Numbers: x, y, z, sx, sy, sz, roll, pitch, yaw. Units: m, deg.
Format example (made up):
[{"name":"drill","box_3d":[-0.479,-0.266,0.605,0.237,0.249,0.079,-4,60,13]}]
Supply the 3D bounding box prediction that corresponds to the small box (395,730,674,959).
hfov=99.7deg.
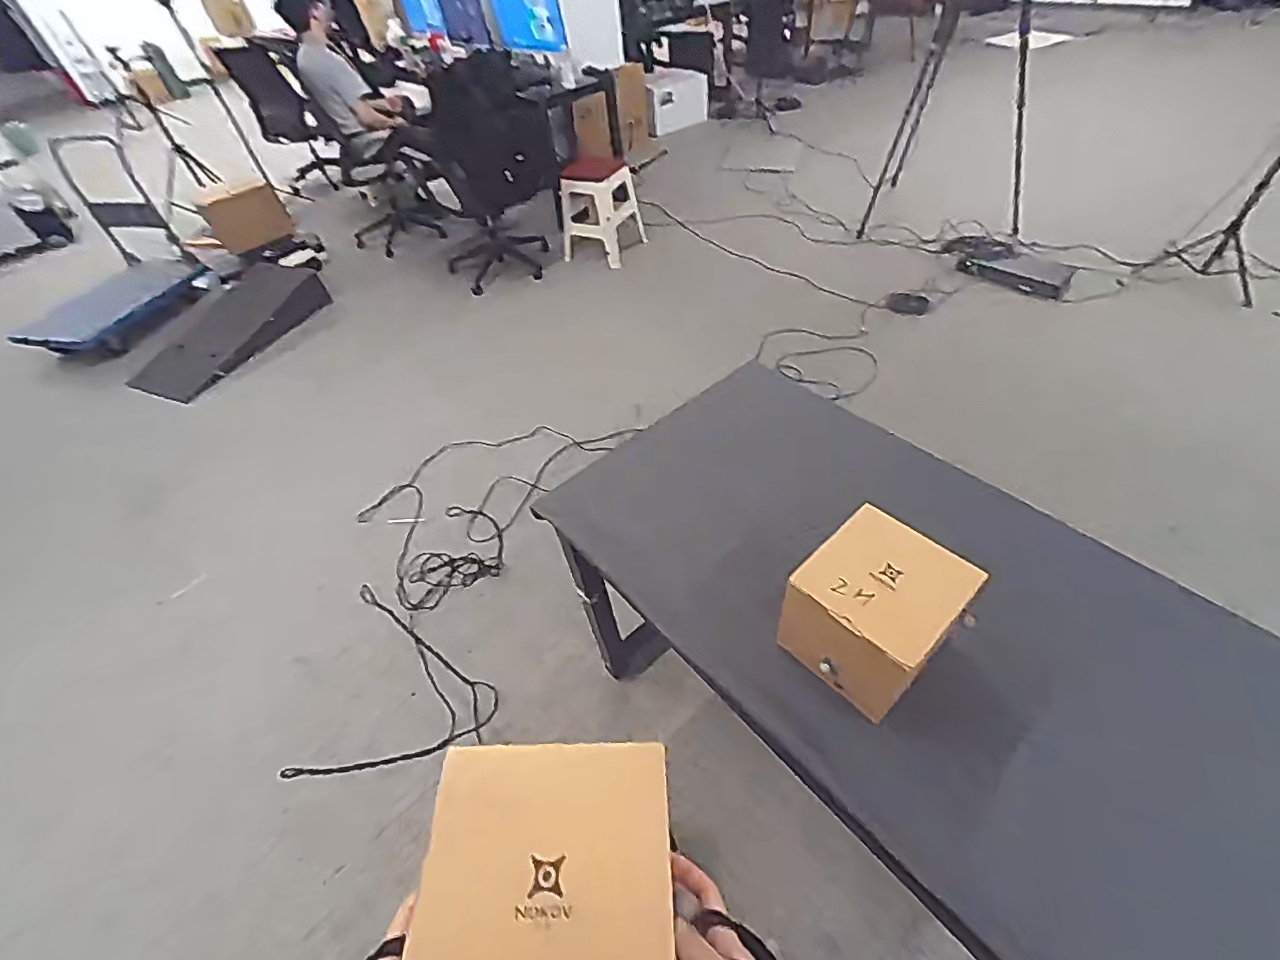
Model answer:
[{"name":"small box","box_3d":[-0.066,0.309,0.404,0.168,0.176,0.179,0,45,-2]}]

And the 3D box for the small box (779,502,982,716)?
[{"name":"small box","box_3d":[0.302,0.169,0.714,0.179,0.176,0.168,-36,52,-24]}]
